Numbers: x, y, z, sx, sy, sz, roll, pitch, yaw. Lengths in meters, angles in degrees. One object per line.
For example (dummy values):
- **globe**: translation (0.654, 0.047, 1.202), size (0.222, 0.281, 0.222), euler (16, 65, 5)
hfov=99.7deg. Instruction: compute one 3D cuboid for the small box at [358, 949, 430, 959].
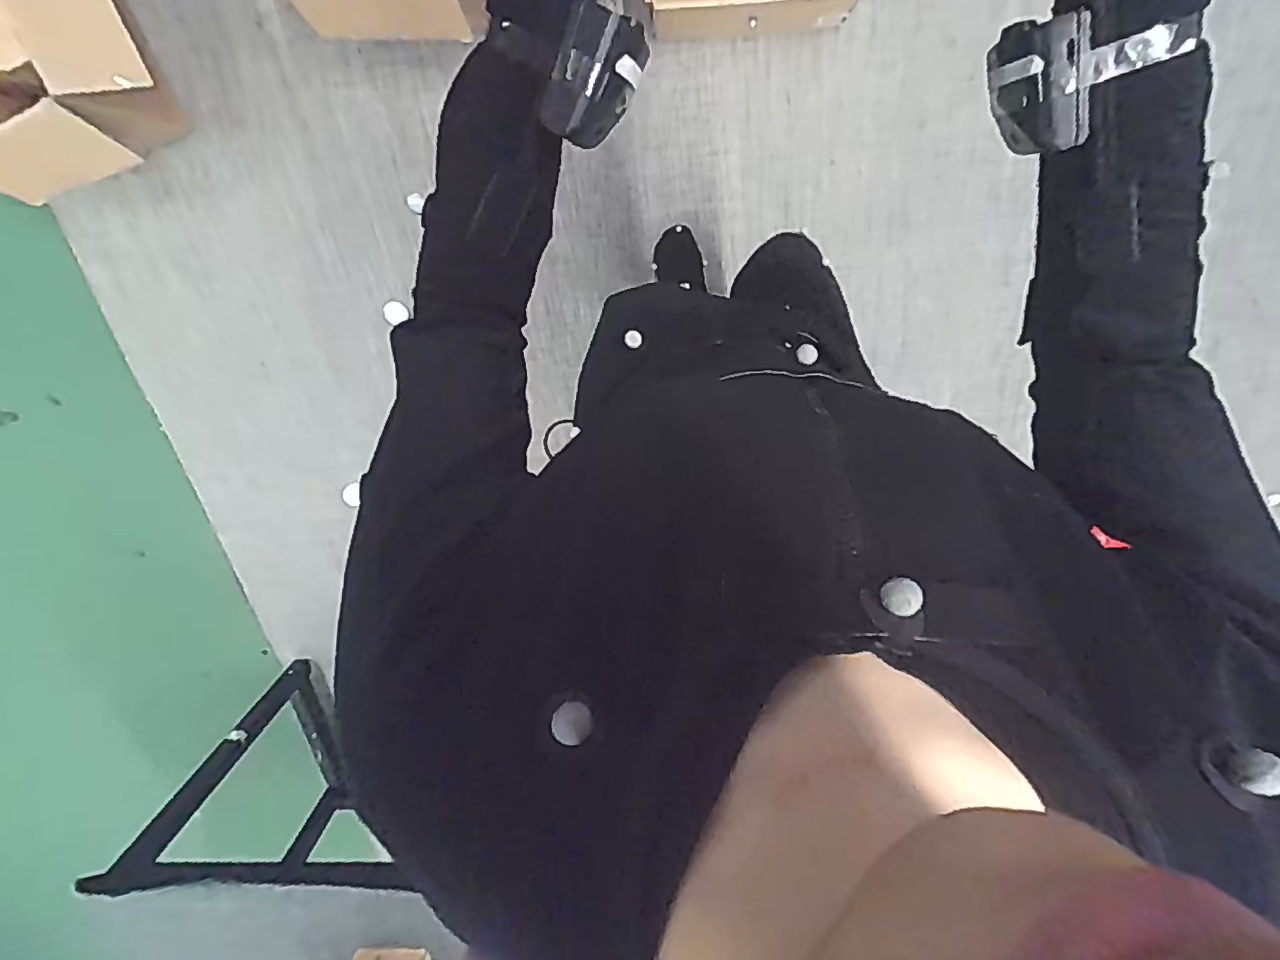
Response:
- **small box**: translation (-0.552, 1.172, 1.176), size (0.168, 0.176, 0.179), euler (-2, 112, 4)
